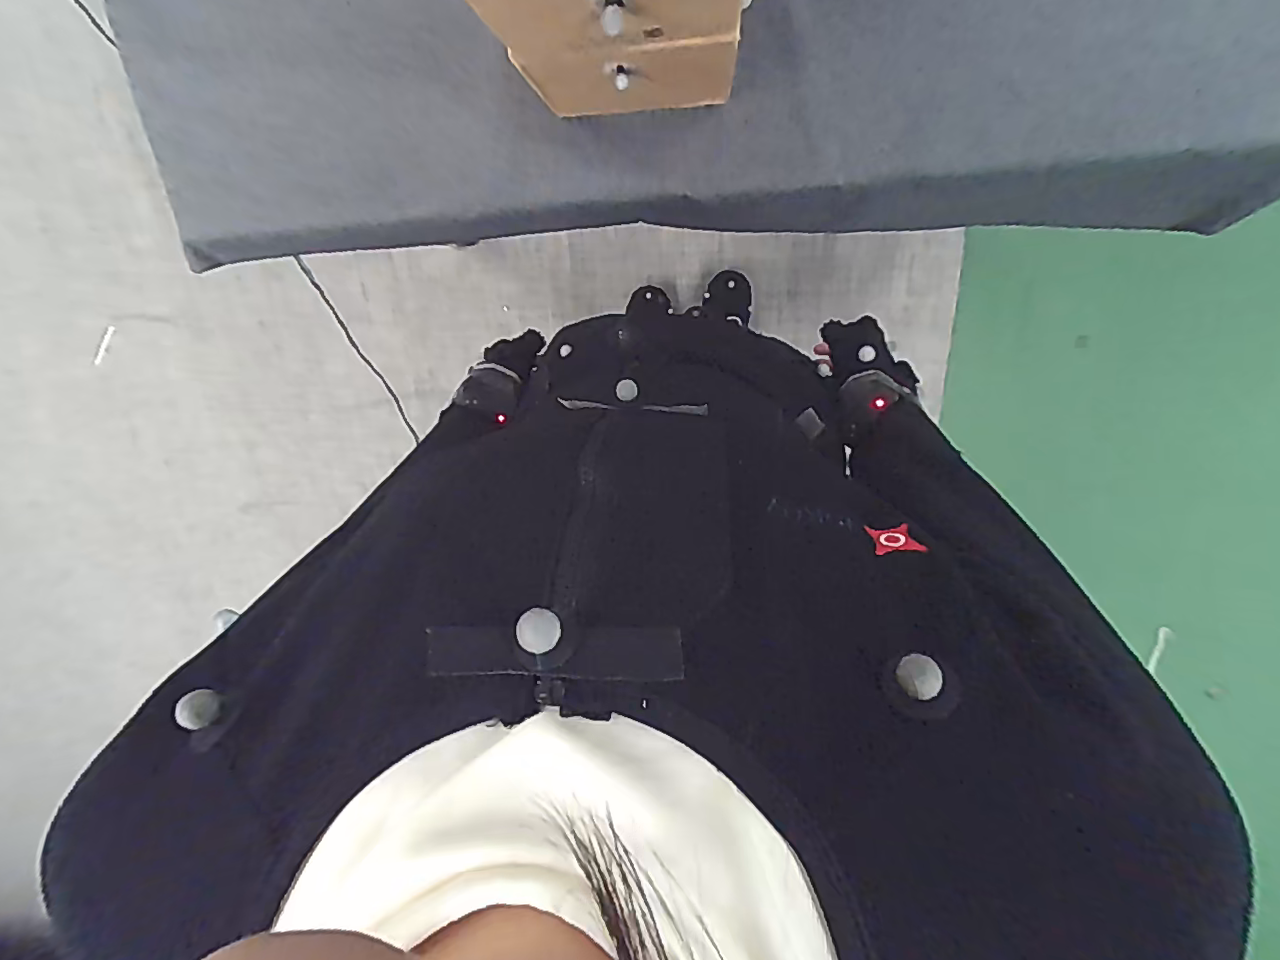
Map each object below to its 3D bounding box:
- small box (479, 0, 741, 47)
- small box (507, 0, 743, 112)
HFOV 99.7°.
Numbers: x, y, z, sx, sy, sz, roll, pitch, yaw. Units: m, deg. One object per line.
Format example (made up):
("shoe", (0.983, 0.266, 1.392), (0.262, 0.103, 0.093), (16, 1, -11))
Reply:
("small box", (-0.023, -0.370, 0.294), (0.168, 0.176, 0.179), (-2, 112, 7))
("small box", (-0.008, -0.425, 0.447), (0.179, 0.176, 0.168), (-1, 112, 5))
